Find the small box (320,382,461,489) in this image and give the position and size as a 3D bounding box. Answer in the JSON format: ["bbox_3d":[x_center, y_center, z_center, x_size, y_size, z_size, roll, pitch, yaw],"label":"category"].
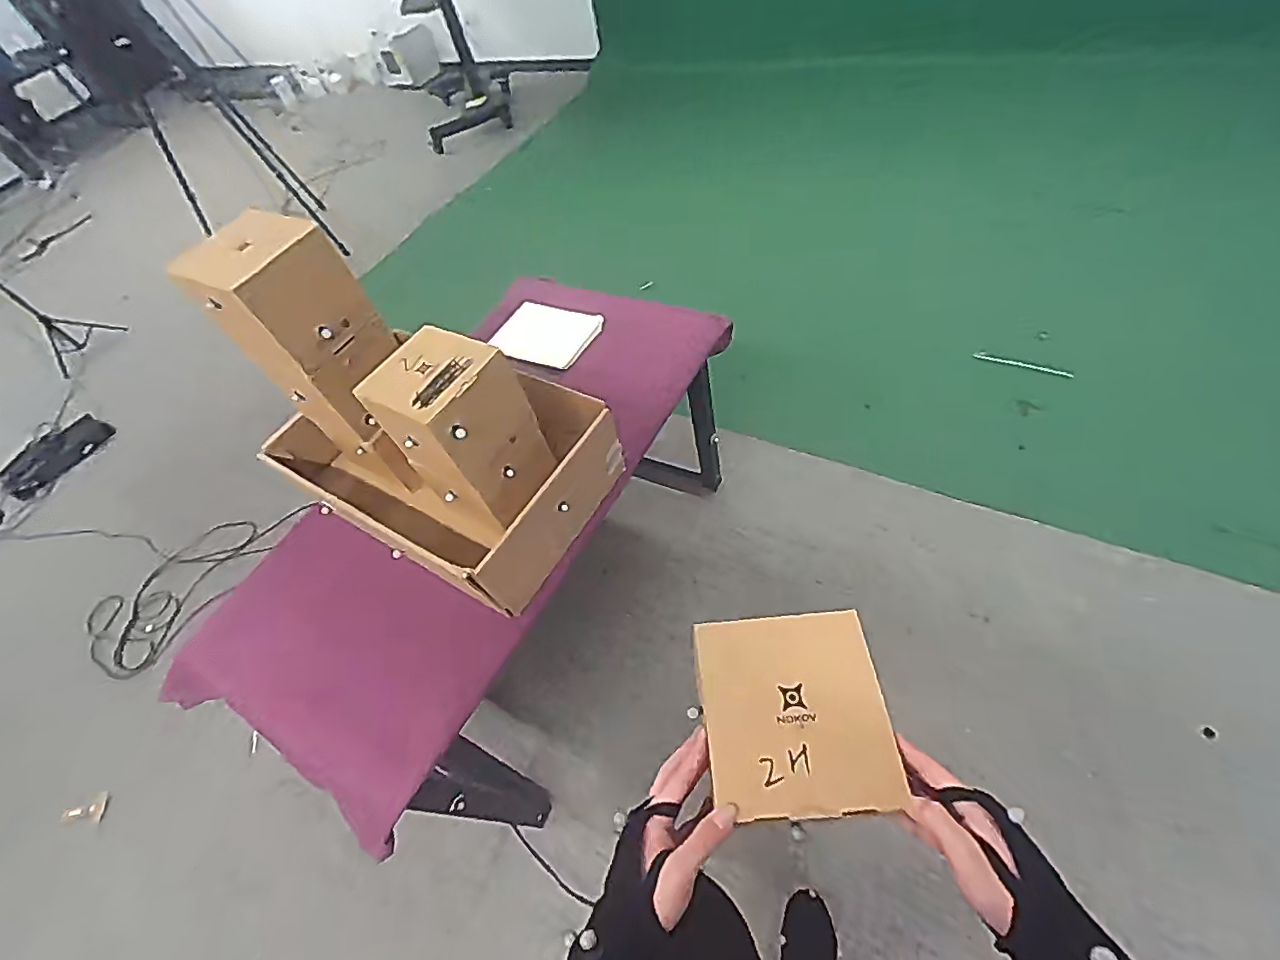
[{"bbox_3d":[-0.514,-0.105,1.127,0.179,0.176,0.168,21,61,23],"label":"small box"}]

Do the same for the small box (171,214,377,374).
[{"bbox_3d":[-0.572,-0.295,0.867,0.179,0.176,0.168,20,62,22],"label":"small box"}]

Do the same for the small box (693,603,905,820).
[{"bbox_3d":[0.145,0.247,0.568,0.168,0.176,0.179,-6,56,3],"label":"small box"}]

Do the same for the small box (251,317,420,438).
[{"bbox_3d":[-0.547,-0.201,0.997,0.179,0.176,0.168,19,61,24],"label":"small box"}]
